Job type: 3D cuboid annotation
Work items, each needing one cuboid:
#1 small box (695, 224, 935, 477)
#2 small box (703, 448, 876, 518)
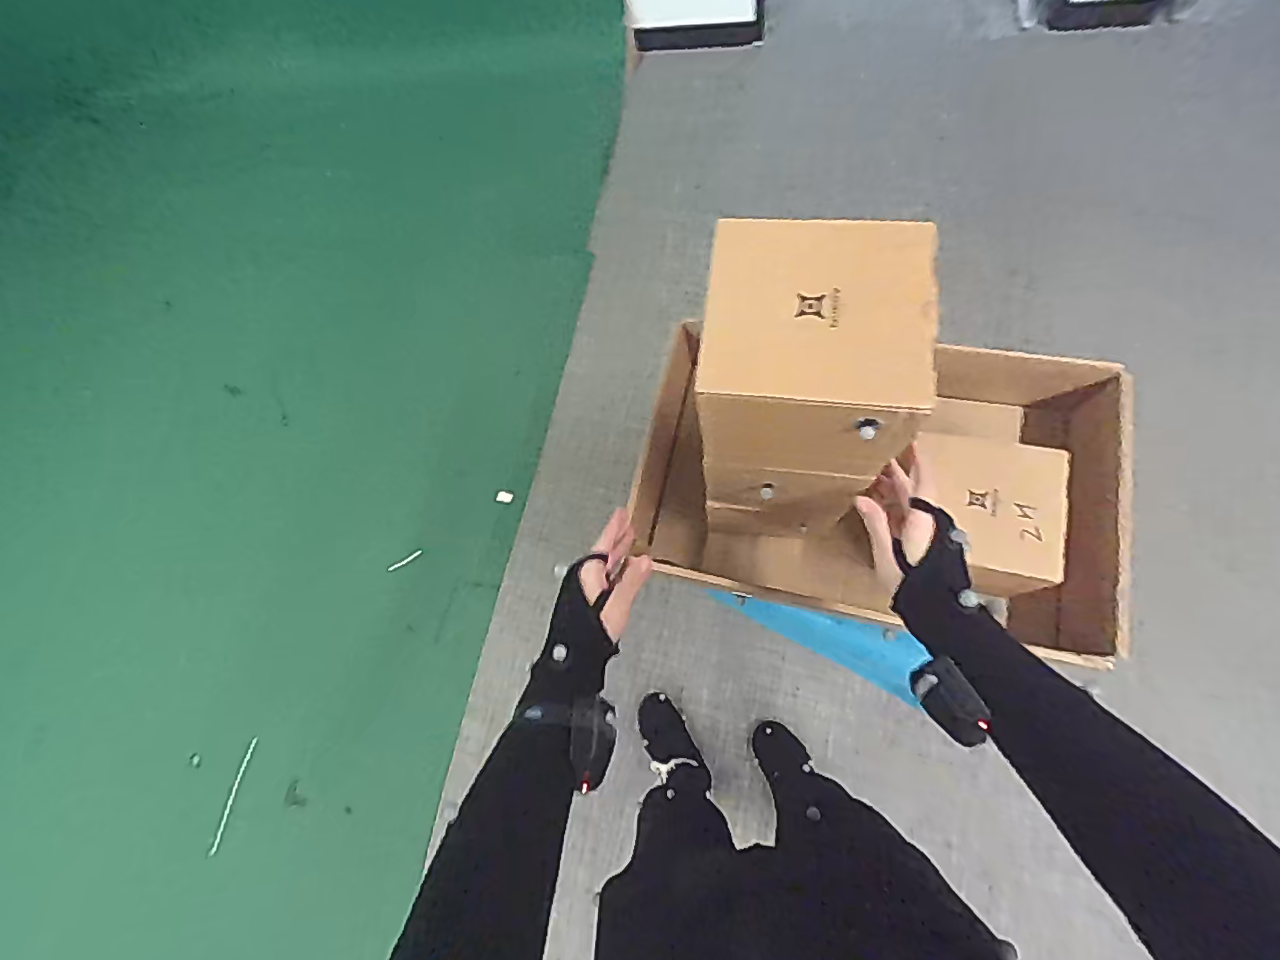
[{"bbox_3d":[0.150,-0.108,0.500,0.179,0.176,0.168,6,74,10],"label":"small box"},{"bbox_3d":[0.177,-0.058,0.653,0.179,0.176,0.168,6,74,11],"label":"small box"}]
